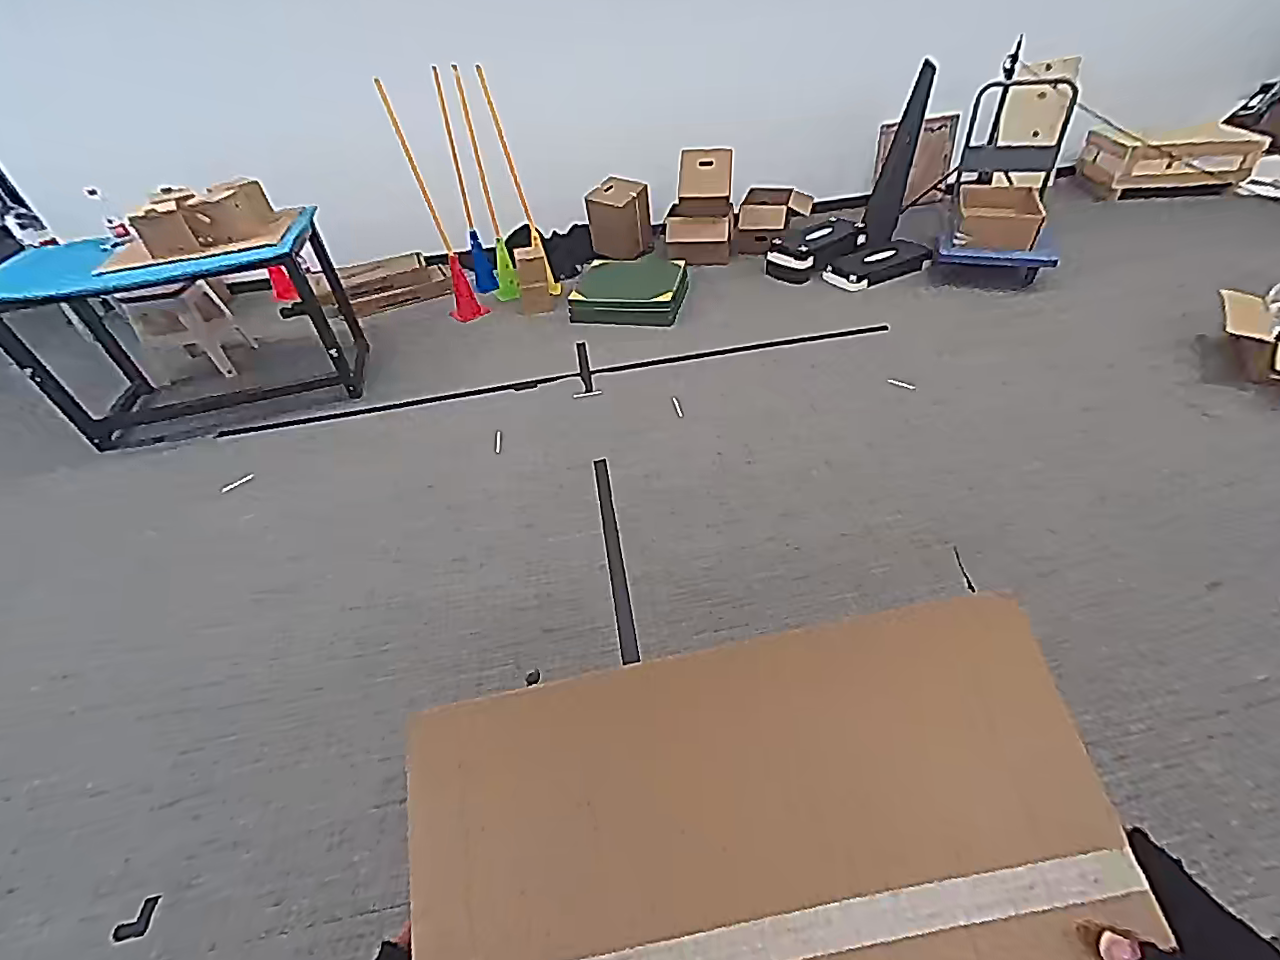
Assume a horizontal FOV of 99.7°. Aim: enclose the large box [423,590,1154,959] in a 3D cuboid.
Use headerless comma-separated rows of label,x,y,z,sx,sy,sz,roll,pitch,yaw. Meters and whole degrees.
large box,0.087,0.310,0.451,0.408,0.320,0.320,-13,69,1
